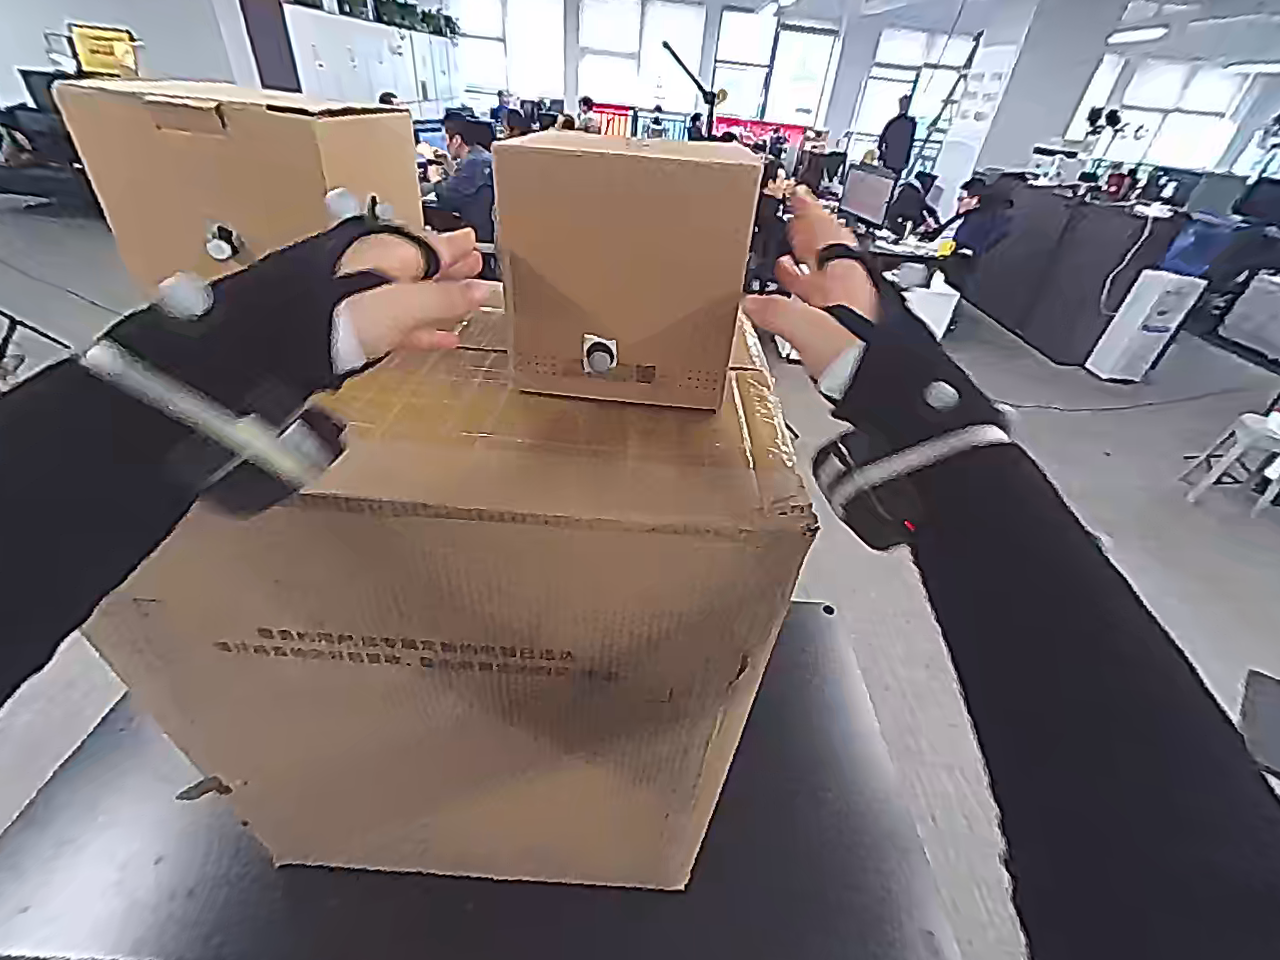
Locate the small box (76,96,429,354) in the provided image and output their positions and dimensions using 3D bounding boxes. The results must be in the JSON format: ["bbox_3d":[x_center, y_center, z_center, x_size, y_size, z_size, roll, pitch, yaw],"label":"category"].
[{"bbox_3d":[-0.298,-0.223,0.472,0.168,0.176,0.179,6,35,-3],"label":"small box"}]

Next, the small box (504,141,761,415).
[{"bbox_3d":[-0.006,-0.172,0.449,0.168,0.176,0.179,4,35,1],"label":"small box"}]
